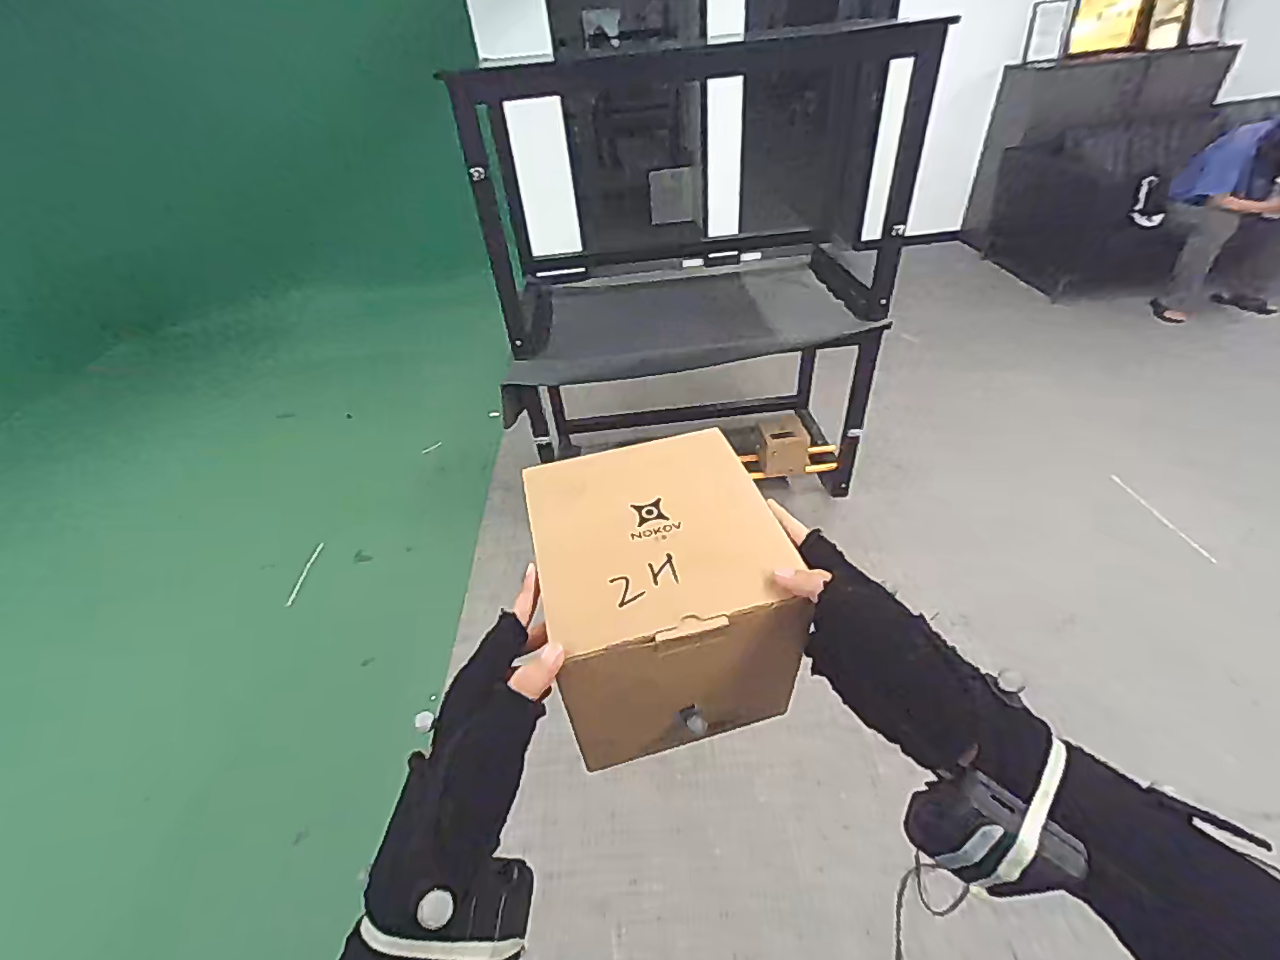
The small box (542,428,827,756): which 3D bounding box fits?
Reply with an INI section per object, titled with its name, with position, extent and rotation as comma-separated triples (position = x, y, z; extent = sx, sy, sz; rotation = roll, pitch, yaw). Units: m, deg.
[small box]
position = 0.023, 0.085, 0.436
extent = 0.168, 0.176, 0.179
rotation = -12, 42, -8
